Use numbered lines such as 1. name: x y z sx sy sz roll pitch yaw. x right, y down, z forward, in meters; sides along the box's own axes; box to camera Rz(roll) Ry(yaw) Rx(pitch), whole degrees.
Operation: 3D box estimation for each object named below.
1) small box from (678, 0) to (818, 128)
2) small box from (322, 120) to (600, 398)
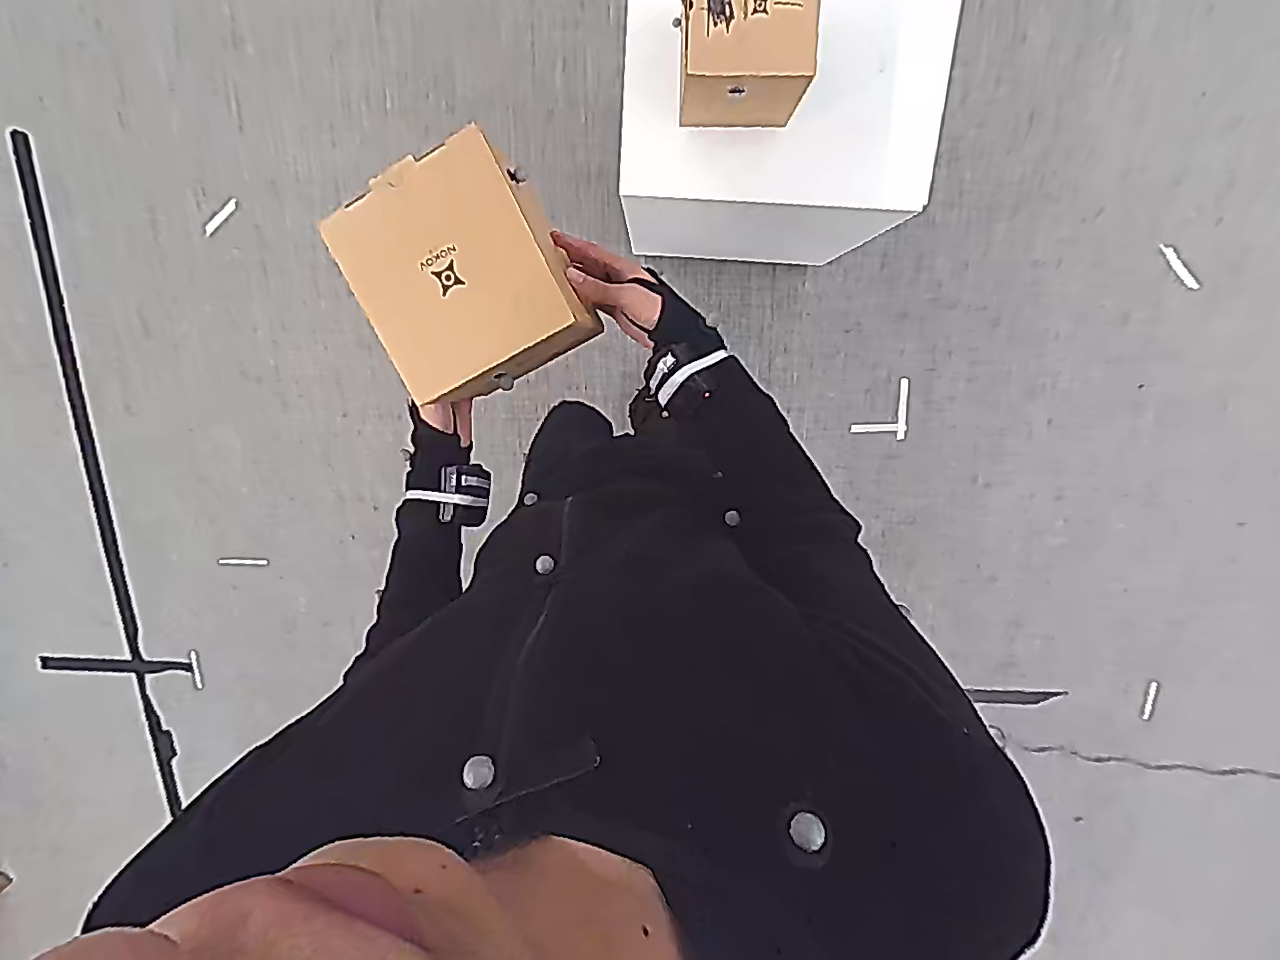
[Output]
1. small box: 0.147 -0.634 0.785 0.179 0.176 0.168 0 103 0
2. small box: -0.155 -0.197 0.536 0.168 0.176 0.179 -25 97 10
